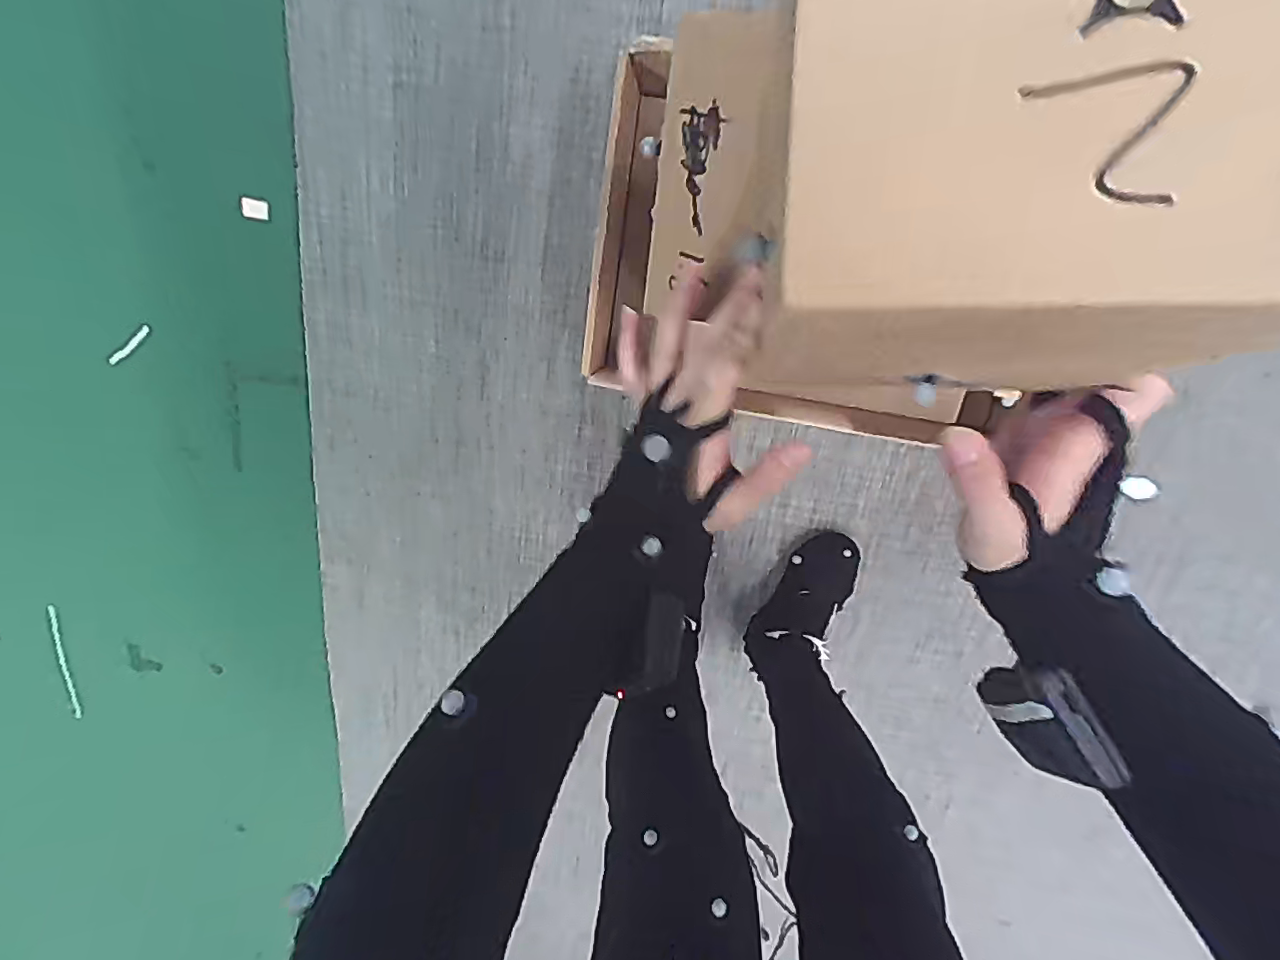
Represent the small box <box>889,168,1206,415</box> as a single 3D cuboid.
[{"bbox_3d":[0.371,-0.183,0.543,0.168,0.176,0.179,13,110,2],"label":"small box"}]
